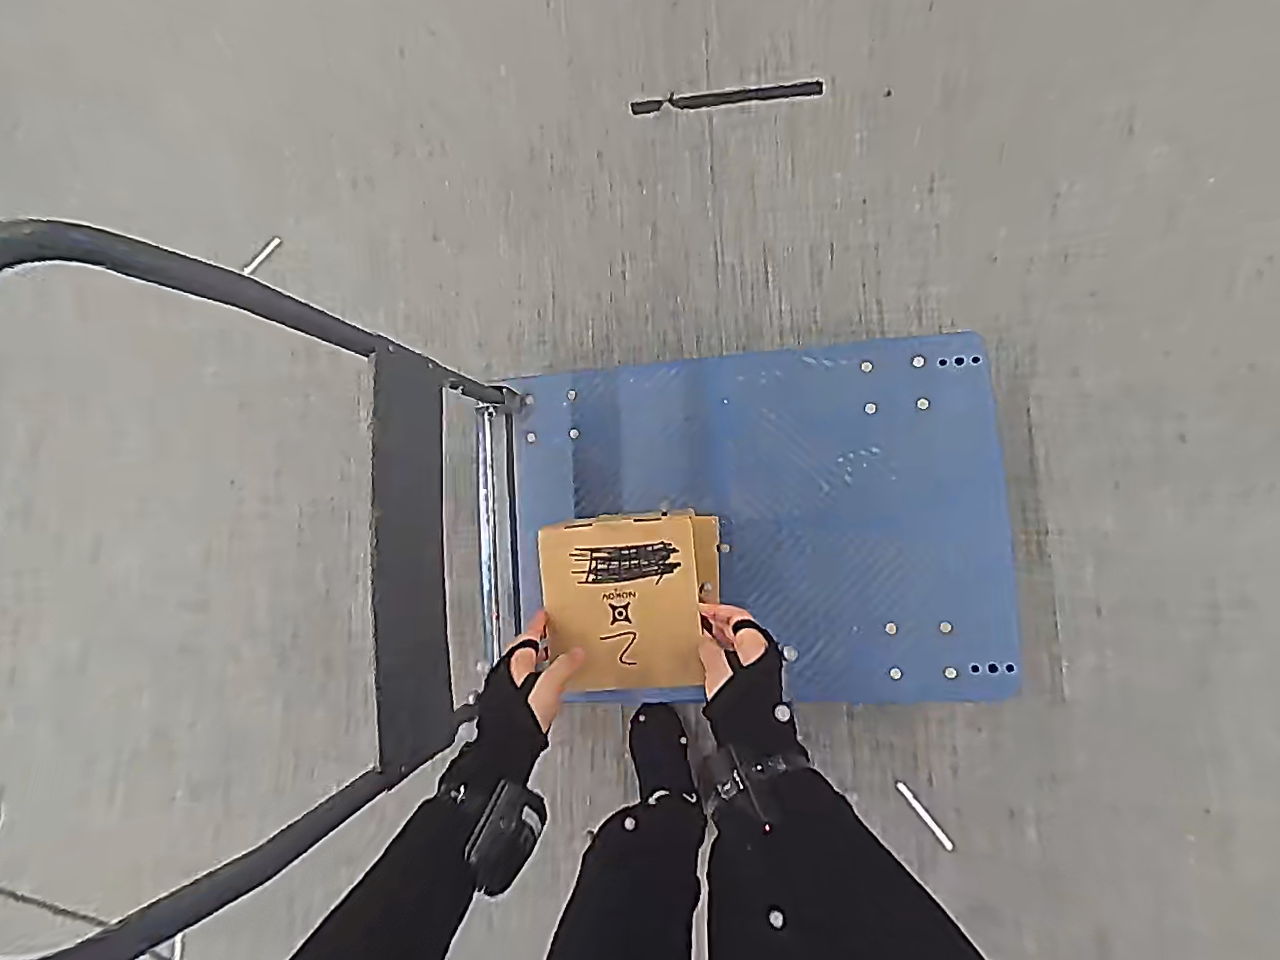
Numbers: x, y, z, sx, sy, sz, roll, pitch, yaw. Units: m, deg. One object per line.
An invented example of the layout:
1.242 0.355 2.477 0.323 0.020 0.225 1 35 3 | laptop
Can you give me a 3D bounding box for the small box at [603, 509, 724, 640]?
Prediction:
0.043 0.136 0.829 0.168 0.176 0.179 0 86 10 | small box
